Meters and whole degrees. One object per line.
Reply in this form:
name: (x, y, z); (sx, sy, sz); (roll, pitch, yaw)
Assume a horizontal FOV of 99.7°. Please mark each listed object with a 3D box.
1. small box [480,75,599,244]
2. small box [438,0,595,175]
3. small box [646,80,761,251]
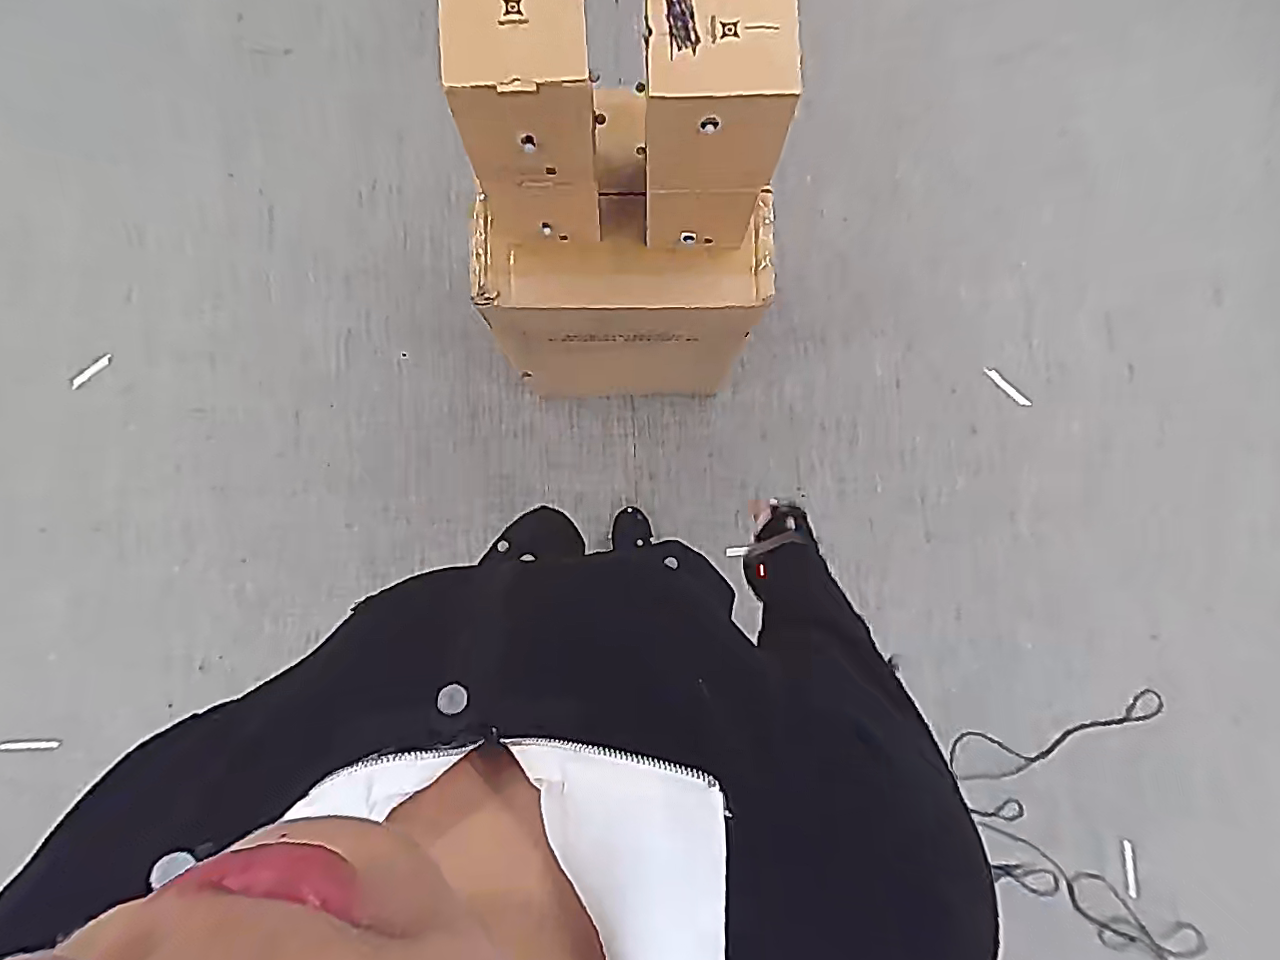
small box: (-0.151, -0.501, 0.858); (0.168, 0.176, 0.179); (-2, 85, -2)
small box: (-0.148, -0.518, 0.695); (0.168, 0.176, 0.179); (-4, 85, -2)
small box: (0.093, -0.491, 0.863); (0.168, 0.176, 0.179); (-1, 86, 1)
